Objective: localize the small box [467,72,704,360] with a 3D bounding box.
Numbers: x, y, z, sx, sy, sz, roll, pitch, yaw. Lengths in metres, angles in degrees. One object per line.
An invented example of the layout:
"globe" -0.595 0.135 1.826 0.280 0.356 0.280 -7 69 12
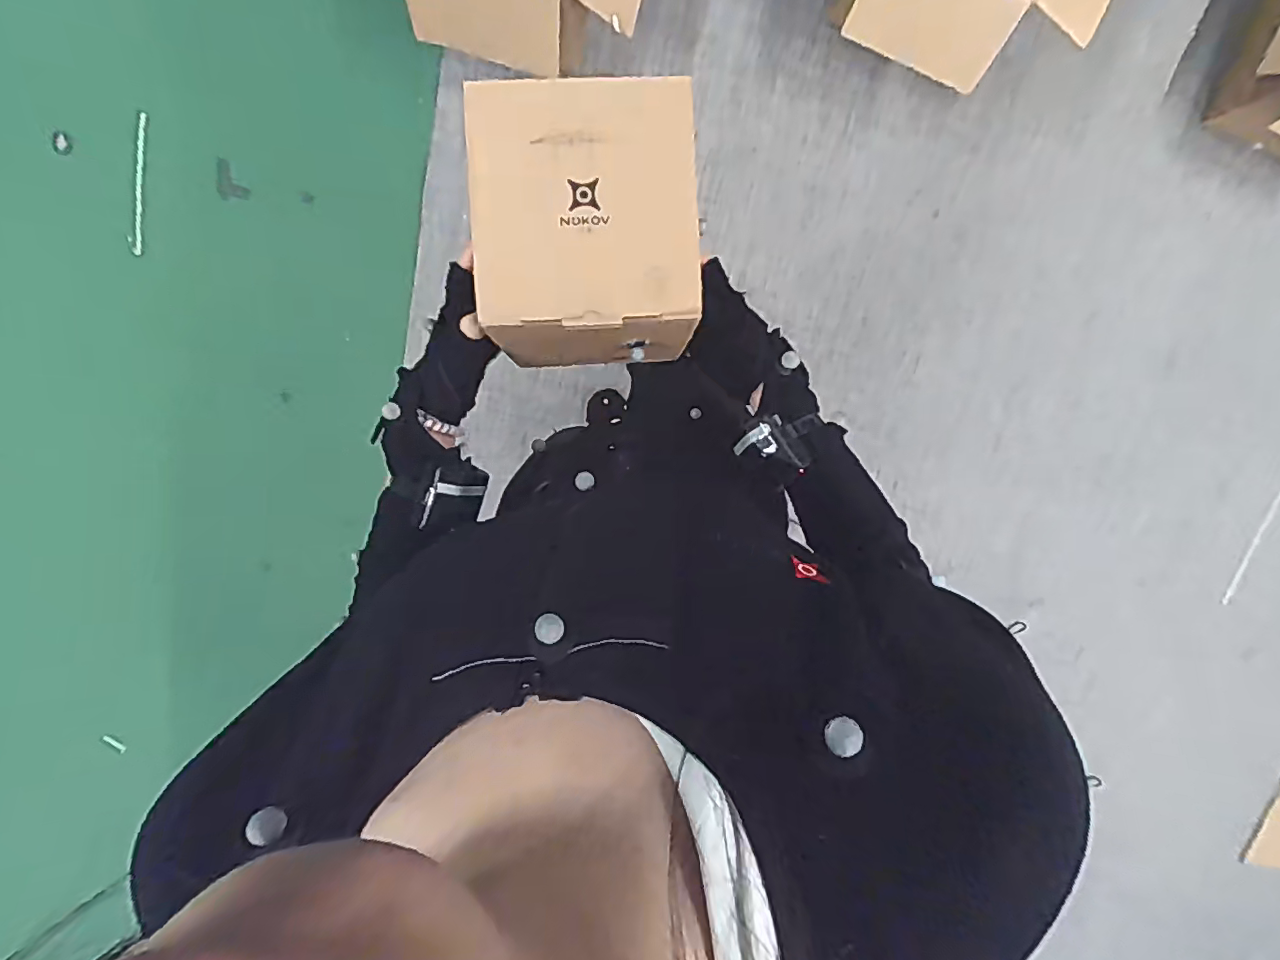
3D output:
"small box" -0.042 -0.205 0.468 0.168 0.176 0.179 -4 91 -4
